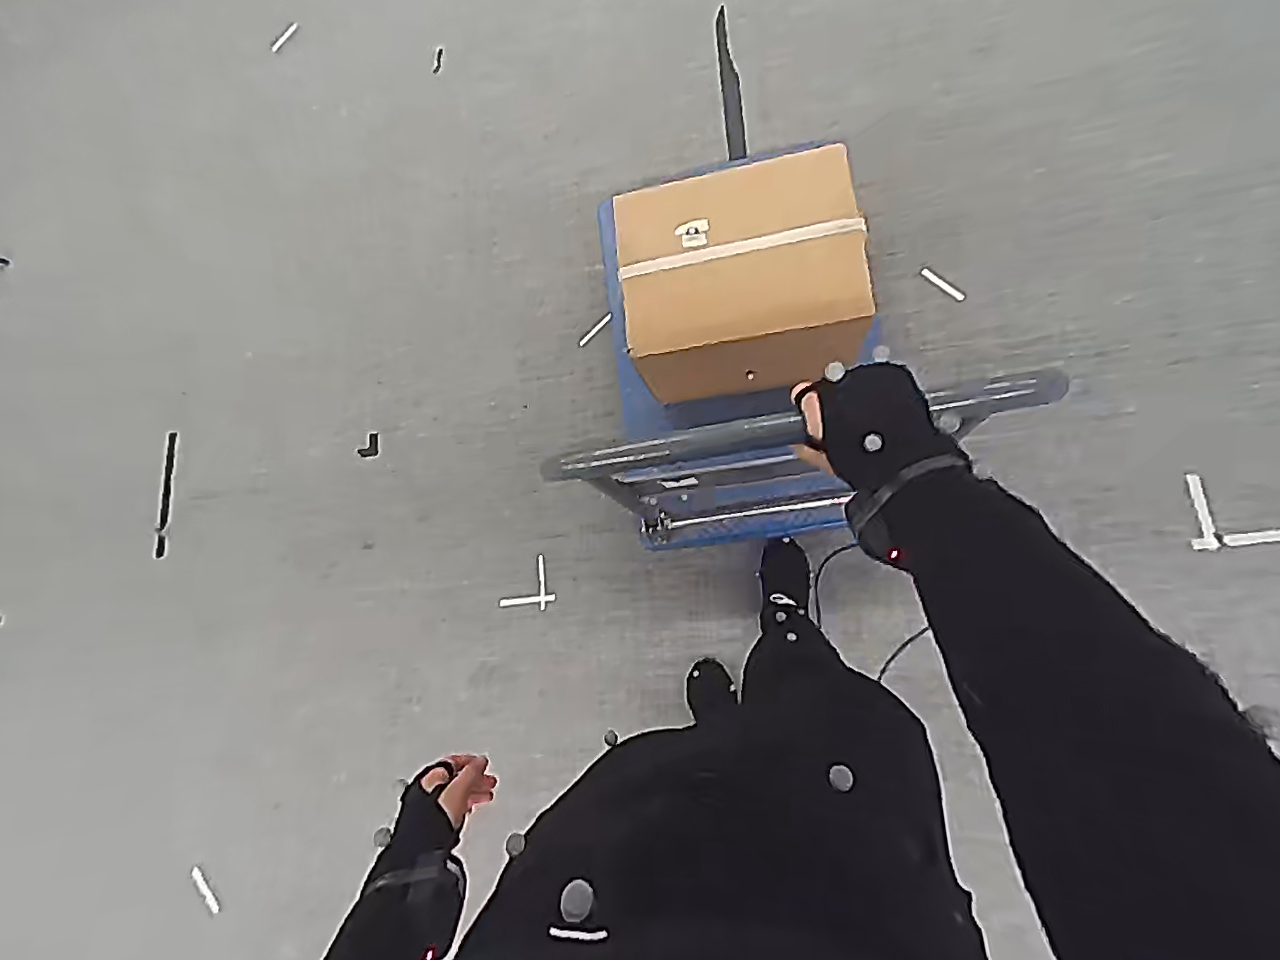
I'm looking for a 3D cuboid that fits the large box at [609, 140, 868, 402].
[{"bbox_3d":[0.188,-0.370,1.059,0.408,0.320,0.320,-9,79,12],"label":"large box"}]
